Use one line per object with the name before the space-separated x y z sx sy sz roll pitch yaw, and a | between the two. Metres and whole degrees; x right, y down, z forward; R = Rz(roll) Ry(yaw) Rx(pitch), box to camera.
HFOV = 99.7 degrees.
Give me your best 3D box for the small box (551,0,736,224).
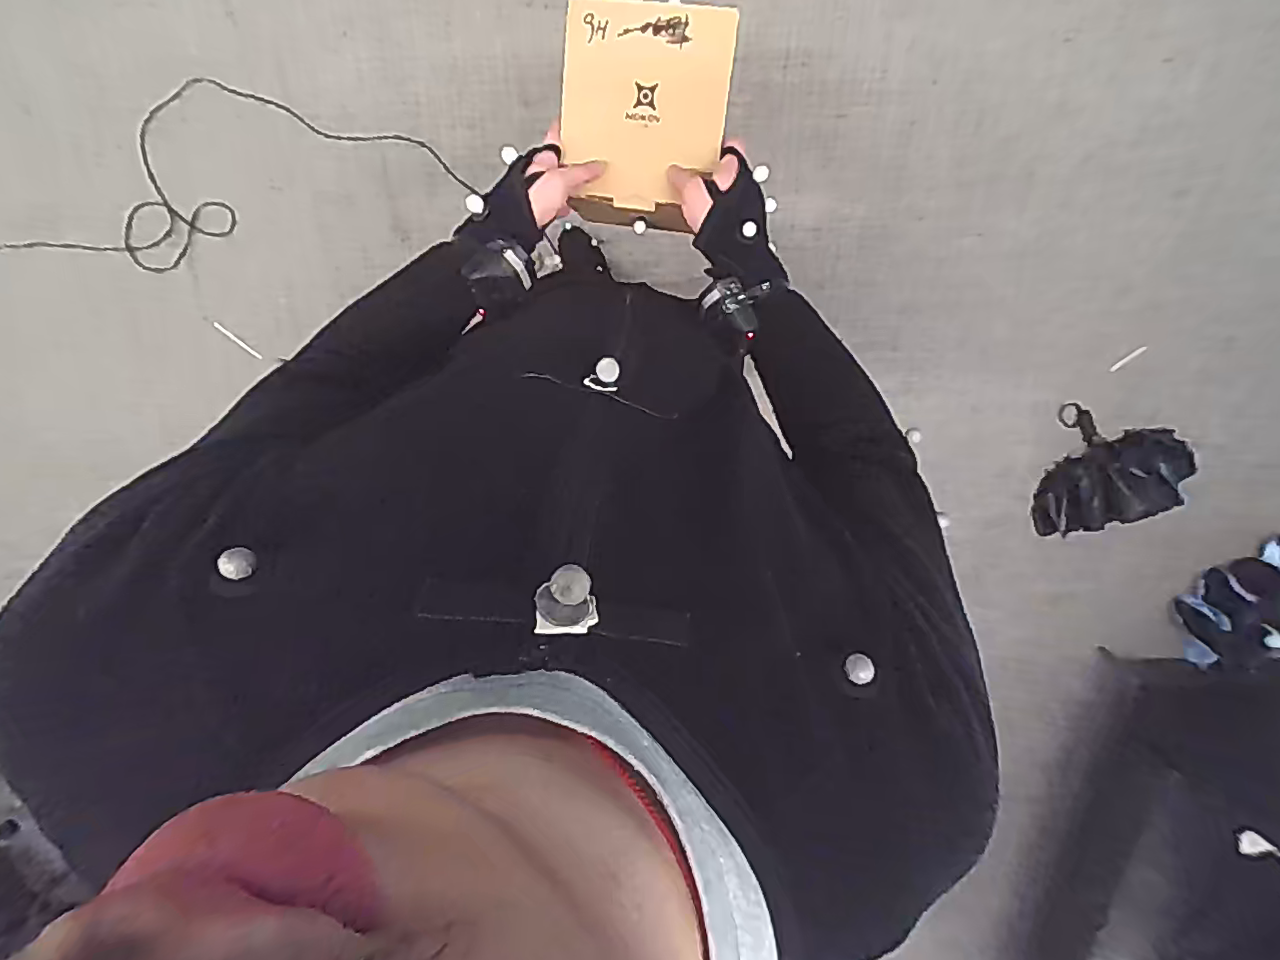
small box | 0.006 -0.392 0.597 0.168 0.176 0.179 8 109 3
